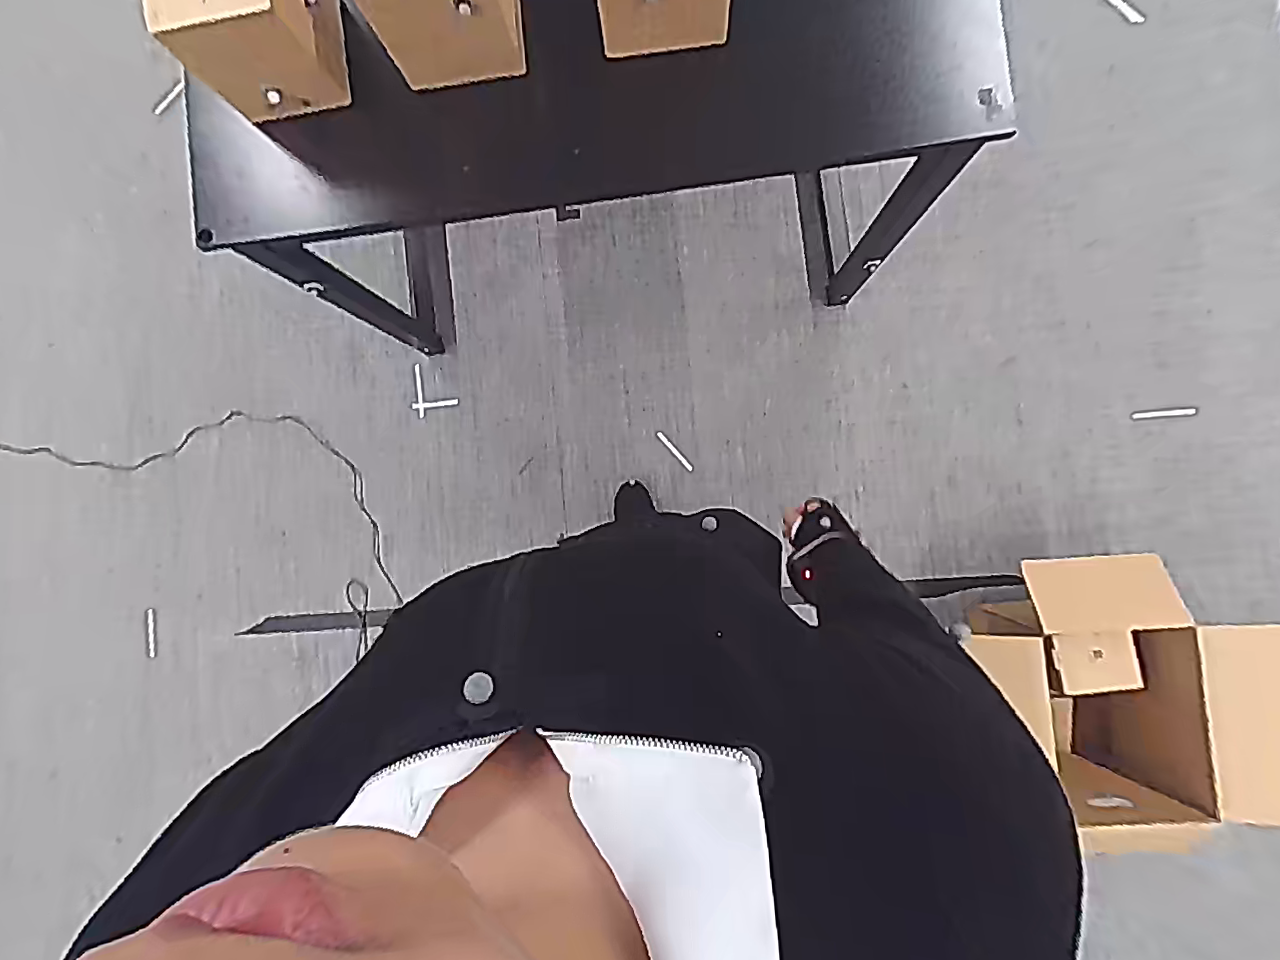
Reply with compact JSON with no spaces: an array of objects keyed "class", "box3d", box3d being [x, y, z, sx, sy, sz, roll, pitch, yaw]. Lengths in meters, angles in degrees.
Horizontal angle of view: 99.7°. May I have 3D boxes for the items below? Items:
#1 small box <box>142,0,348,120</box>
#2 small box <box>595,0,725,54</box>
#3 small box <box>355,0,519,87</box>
[{"class":"small box","box3d":[-0.534,-0.647,0.745,0.168,0.176,0.179,-8,89,4]},{"class":"small box","box3d":[0.022,-0.706,0.710,0.179,0.176,0.168,-4,88,5]},{"class":"small box","box3d":[-0.270,-0.676,0.727,0.179,0.176,0.168,-6,88,4]}]
